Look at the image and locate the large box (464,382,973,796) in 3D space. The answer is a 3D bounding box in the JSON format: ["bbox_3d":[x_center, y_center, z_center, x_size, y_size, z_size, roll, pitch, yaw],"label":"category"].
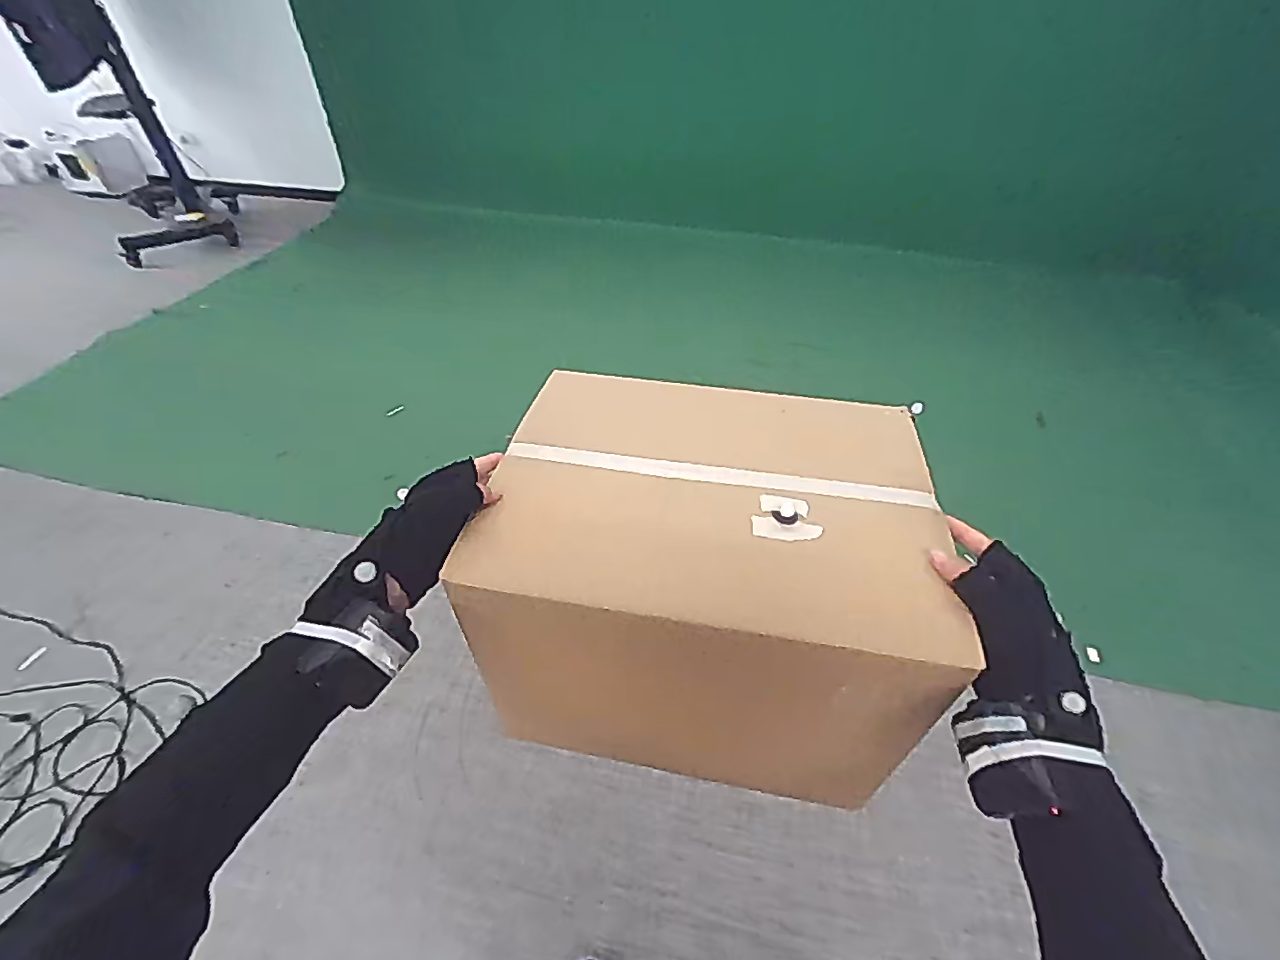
[{"bbox_3d":[0.070,0.116,0.623,0.408,0.320,0.320,8,44,7],"label":"large box"}]
